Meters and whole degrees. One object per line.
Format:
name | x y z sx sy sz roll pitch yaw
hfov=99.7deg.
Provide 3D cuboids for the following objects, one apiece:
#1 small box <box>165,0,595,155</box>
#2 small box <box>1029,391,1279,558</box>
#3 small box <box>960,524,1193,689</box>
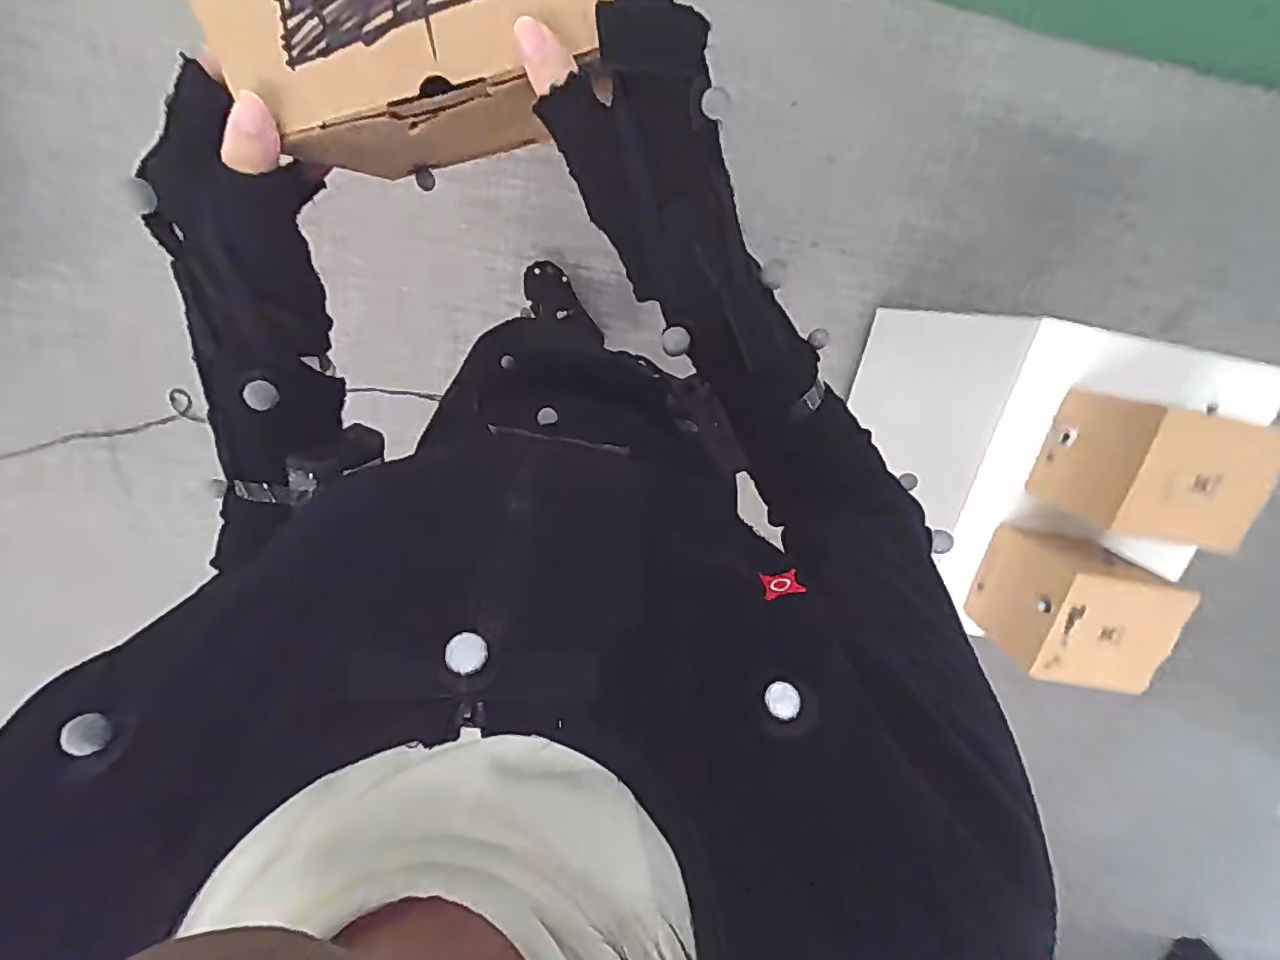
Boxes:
small box | -0.122 -0.279 0.266 0.168 0.176 0.179 -14 113 3
small box | 0.686 -0.017 0.726 0.179 0.176 0.168 10 109 -2
small box | 0.631 0.180 0.809 0.179 0.176 0.168 11 109 -4
